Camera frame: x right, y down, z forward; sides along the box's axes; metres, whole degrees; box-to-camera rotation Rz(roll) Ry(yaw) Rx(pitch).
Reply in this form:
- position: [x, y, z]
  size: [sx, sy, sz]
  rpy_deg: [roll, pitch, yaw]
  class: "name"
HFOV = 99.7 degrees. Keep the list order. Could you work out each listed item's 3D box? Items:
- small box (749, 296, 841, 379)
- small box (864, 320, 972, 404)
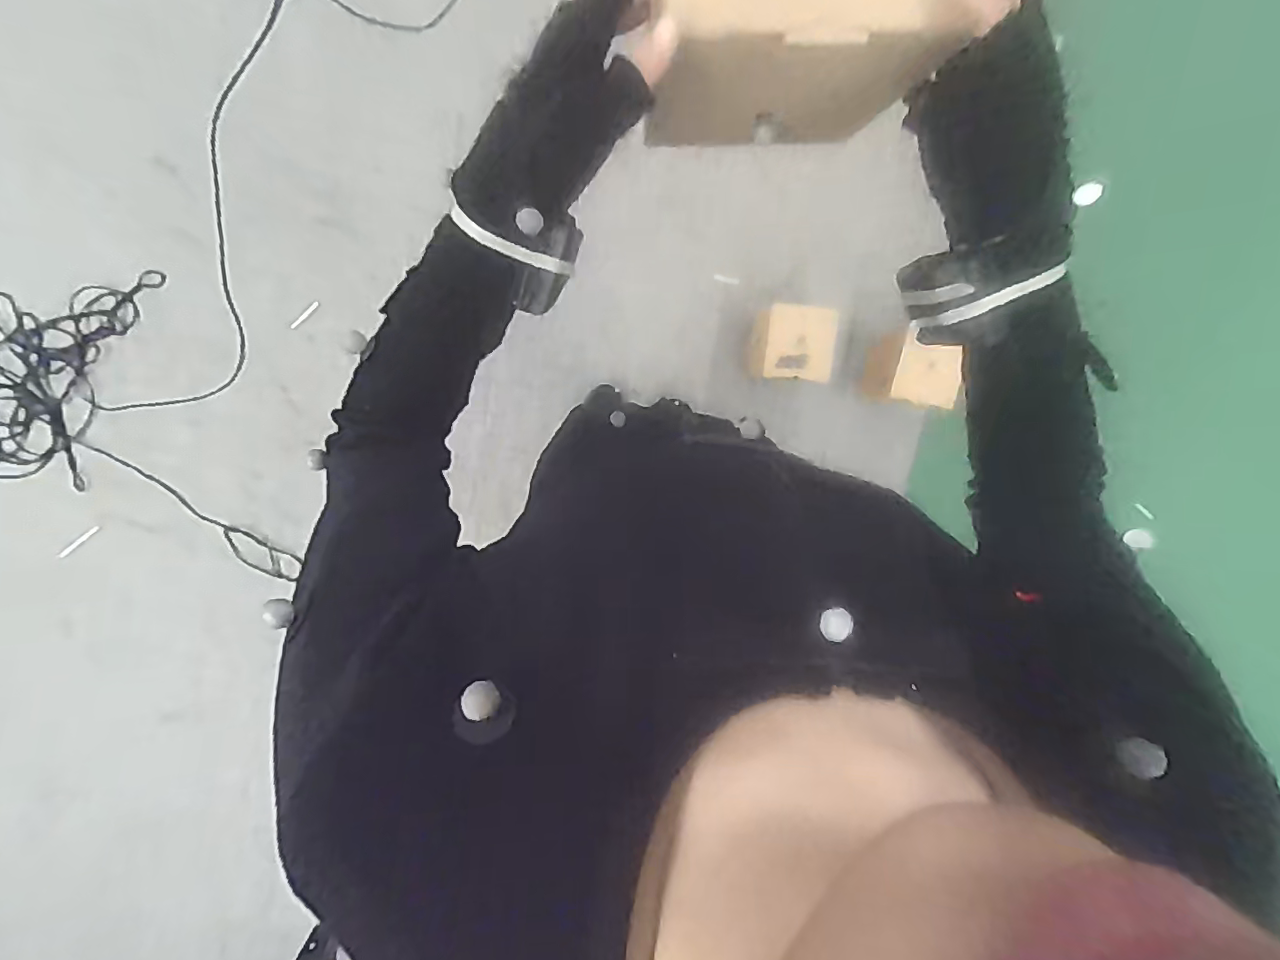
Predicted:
- position: [0.379, -0.350, 1.356]
  size: [0.168, 0.176, 0.179]
  rpy_deg: [5, 99, -3]
  class: "small box"
- position: [0.698, -0.296, 1.378]
  size: [0.168, 0.176, 0.179]
  rpy_deg: [11, 99, -3]
  class: "small box"
